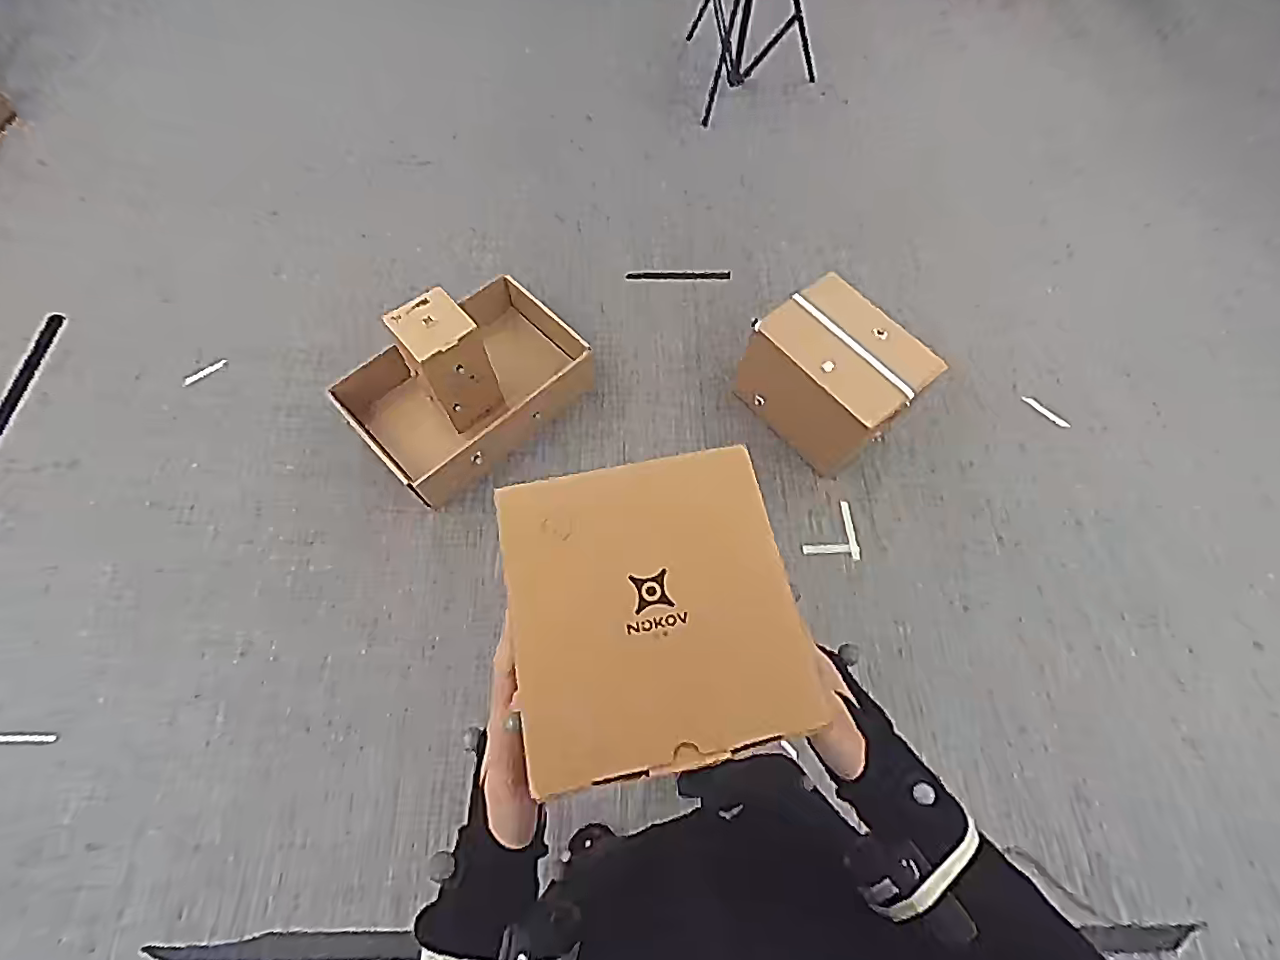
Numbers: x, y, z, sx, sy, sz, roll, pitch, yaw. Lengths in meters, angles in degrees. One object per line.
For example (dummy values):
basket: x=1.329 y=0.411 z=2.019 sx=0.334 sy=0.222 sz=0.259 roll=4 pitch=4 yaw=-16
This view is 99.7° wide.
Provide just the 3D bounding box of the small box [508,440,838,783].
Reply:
small box: x=0.008 y=0.095 z=0.390 sx=0.168 sy=0.176 sz=0.179 roll=-11 pitch=69 yaw=-7

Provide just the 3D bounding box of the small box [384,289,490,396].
small box: x=-0.505 y=-0.338 z=1.373 sx=0.168 sy=0.176 sz=0.179 roll=-37 pitch=72 yaw=-18
